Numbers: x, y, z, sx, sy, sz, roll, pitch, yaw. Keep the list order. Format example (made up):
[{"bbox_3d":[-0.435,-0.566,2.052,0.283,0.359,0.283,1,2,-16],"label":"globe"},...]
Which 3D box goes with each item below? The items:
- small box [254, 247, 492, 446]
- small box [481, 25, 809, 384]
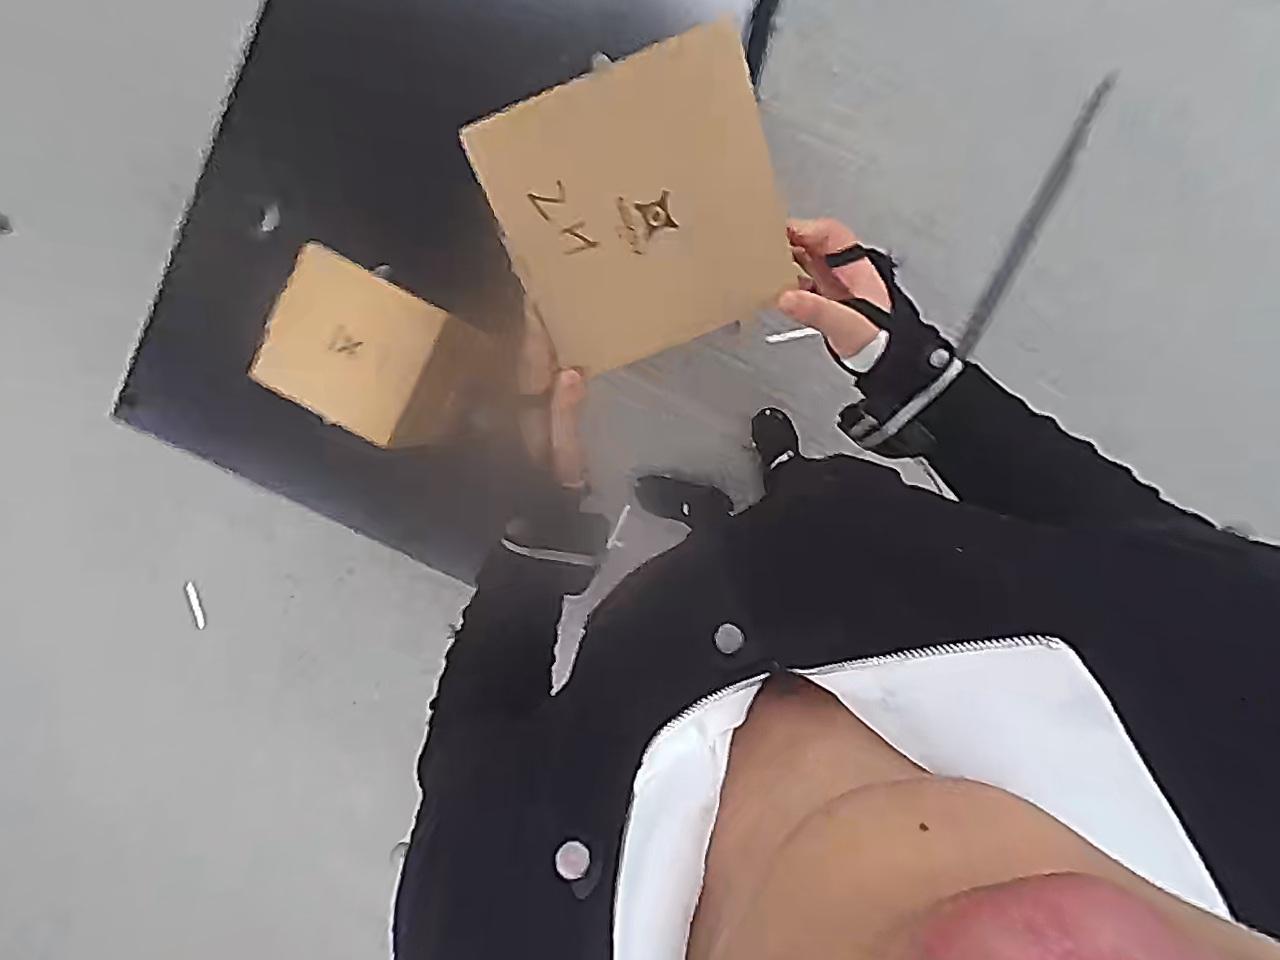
[{"bbox_3d":[-0.317,-0.152,0.676,0.179,0.176,0.168,27,97,-1],"label":"small box"},{"bbox_3d":[0.003,-0.197,0.417,0.179,0.176,0.168,-20,114,3],"label":"small box"}]
